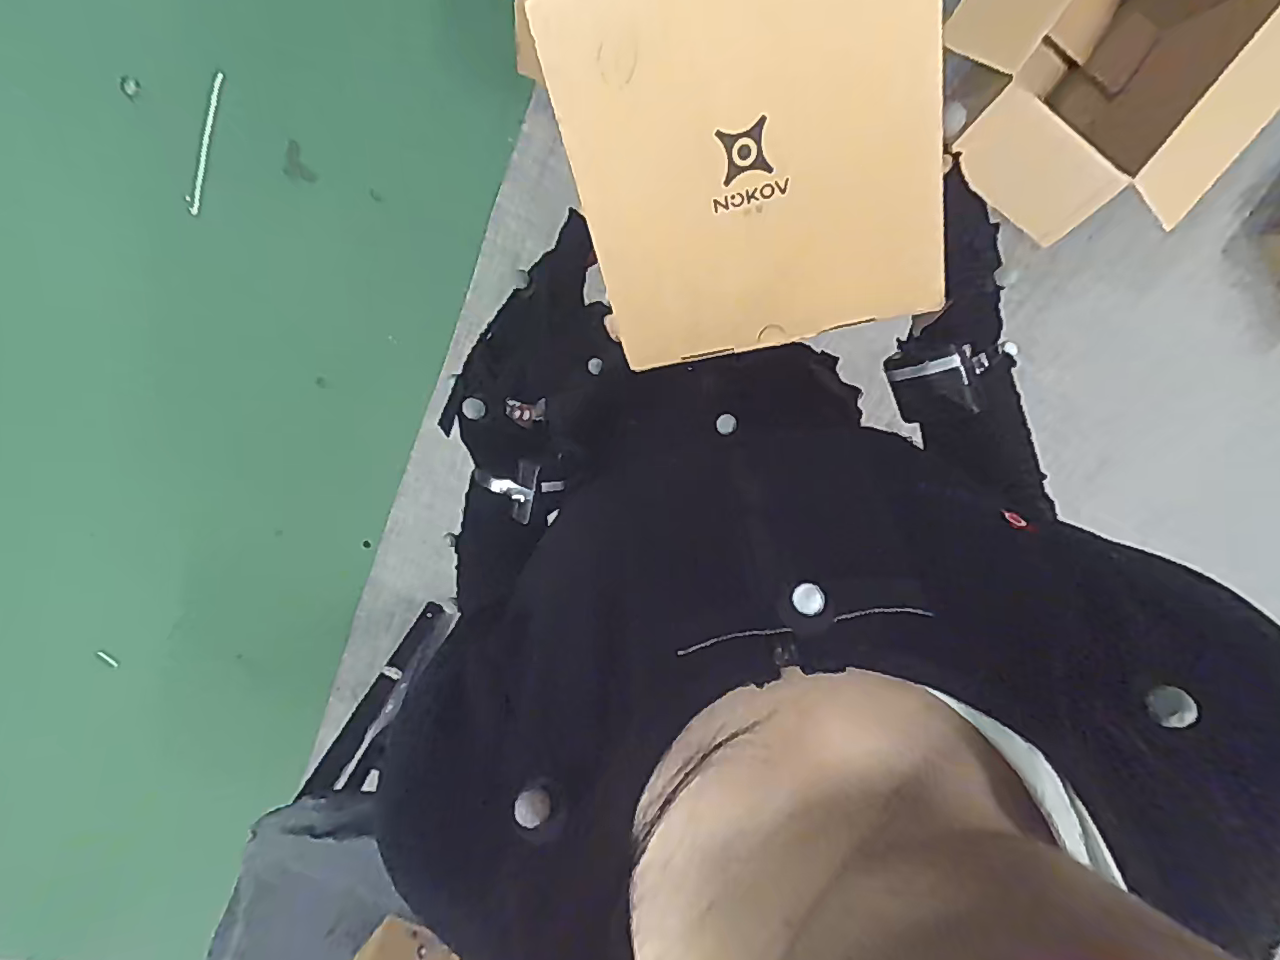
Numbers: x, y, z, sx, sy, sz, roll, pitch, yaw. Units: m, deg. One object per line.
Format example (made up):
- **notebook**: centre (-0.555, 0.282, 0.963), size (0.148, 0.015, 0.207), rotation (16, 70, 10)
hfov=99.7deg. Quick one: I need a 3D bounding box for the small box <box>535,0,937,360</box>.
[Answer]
- **small box**: centre (0.066, -0.196, 0.322), size (0.168, 0.176, 0.179), rotation (-8, 121, 19)
